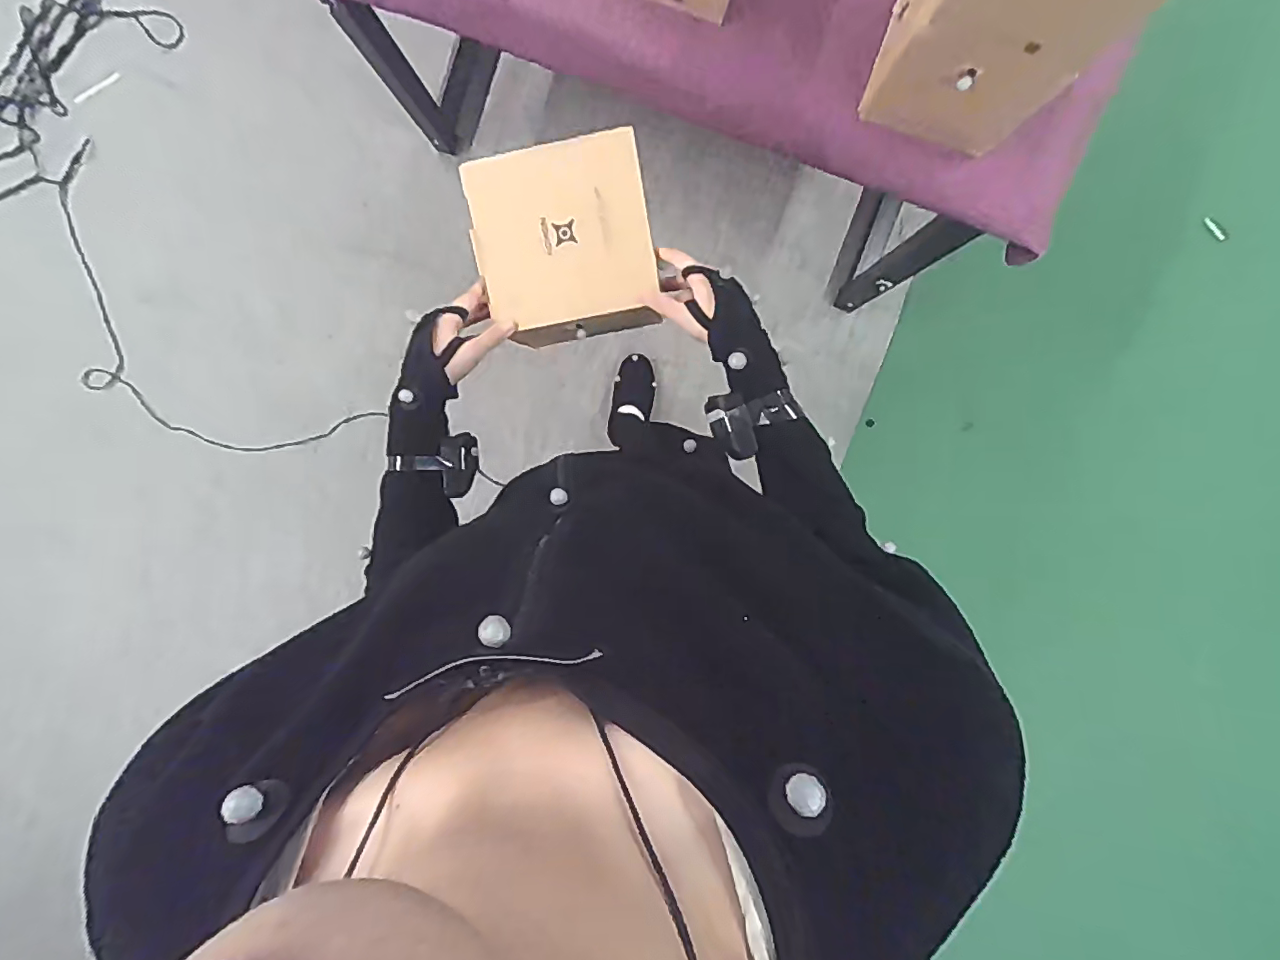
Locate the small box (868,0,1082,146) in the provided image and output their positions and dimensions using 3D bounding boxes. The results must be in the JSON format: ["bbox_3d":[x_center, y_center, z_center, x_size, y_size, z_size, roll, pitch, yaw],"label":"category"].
[{"bbox_3d":[0.399,-0.524,0.625,0.179,0.176,0.168,18,97,2],"label":"small box"}]

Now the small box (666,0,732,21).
[{"bbox_3d":[0.058,-0.694,0.622,0.168,0.176,0.179,20,95,0],"label":"small box"}]

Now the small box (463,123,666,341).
[{"bbox_3d":[-0.070,-0.259,0.610,0.179,0.176,0.168,-10,99,5],"label":"small box"}]

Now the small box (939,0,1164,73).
[{"bbox_3d":[0.393,-0.509,0.462,0.168,0.176,0.179,19,96,3],"label":"small box"}]

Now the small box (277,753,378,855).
[{"bbox_3d":[-0.854,0.887,1.496,0.179,0.176,0.168,11,95,1],"label":"small box"}]
